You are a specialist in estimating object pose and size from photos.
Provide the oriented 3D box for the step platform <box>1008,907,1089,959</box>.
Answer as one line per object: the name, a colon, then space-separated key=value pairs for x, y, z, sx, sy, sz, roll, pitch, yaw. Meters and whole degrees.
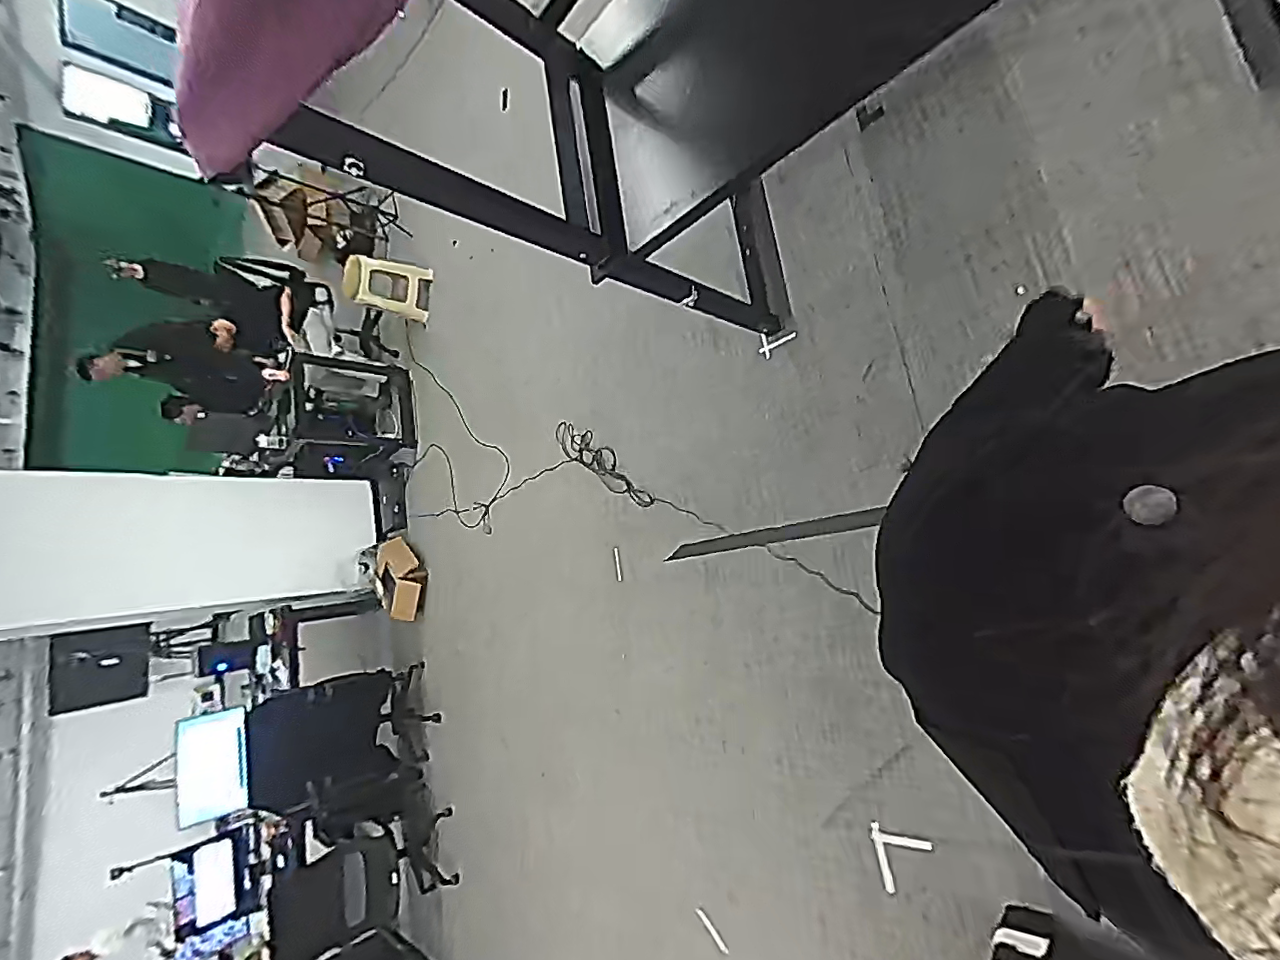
step platform: x=1.045 y=1.063 z=0.933 sx=0.684 sy=0.204 sz=0.286 roll=-11 pitch=81 yaw=44
